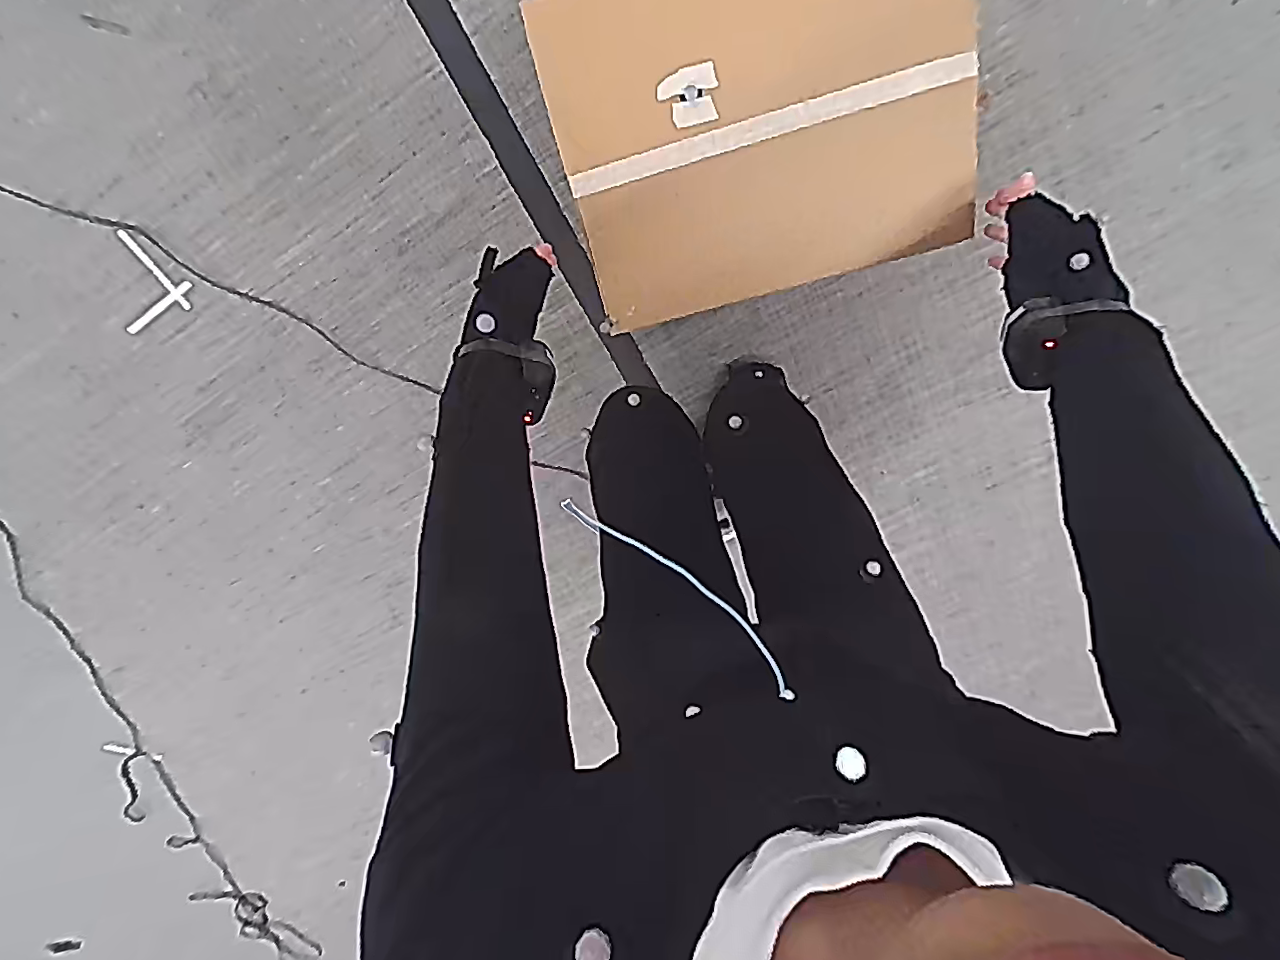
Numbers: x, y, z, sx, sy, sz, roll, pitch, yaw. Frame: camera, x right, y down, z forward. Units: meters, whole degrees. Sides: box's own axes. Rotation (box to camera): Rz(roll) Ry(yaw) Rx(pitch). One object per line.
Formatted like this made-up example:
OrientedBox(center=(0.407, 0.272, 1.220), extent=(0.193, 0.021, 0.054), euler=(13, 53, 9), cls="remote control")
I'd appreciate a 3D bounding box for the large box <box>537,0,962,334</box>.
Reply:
OrientedBox(center=(0.131, -0.419, 0.697), extent=(0.408, 0.320, 0.320), euler=(-13, 114, 8), cls="large box")
